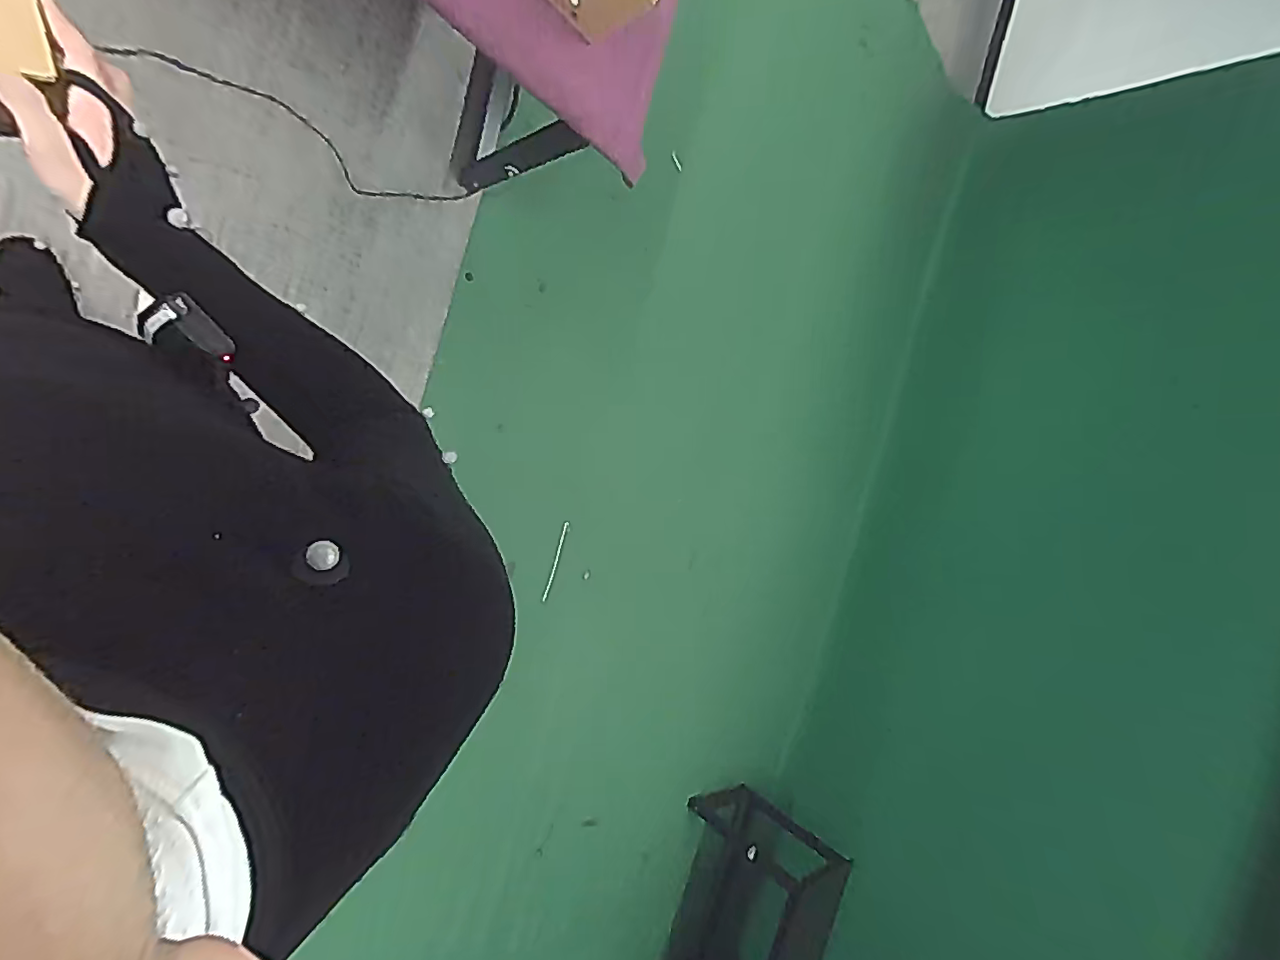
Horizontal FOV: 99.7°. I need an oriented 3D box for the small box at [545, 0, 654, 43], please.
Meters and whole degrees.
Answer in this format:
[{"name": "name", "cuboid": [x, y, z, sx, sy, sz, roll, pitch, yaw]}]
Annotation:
[{"name": "small box", "cuboid": [-0.067, -0.866, 0.862, 0.168, 0.176, 0.179, 17, 88, -44]}]
